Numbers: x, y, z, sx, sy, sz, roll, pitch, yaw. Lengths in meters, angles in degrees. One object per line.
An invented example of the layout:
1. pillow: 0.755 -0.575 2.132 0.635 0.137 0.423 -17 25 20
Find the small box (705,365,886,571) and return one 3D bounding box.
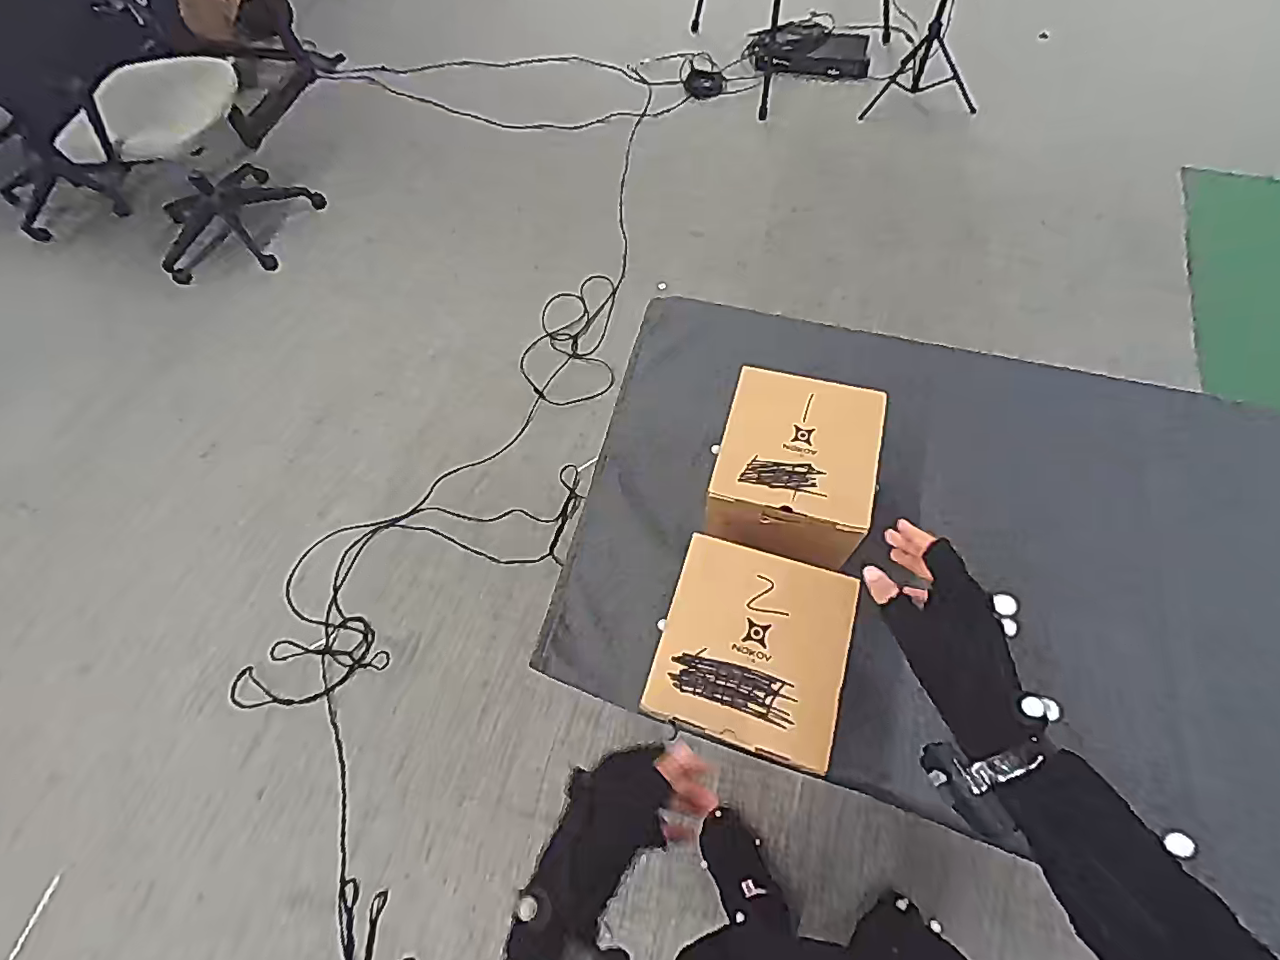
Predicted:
1. small box: 0.180 -0.007 0.657 0.168 0.176 0.179 14 65 12
